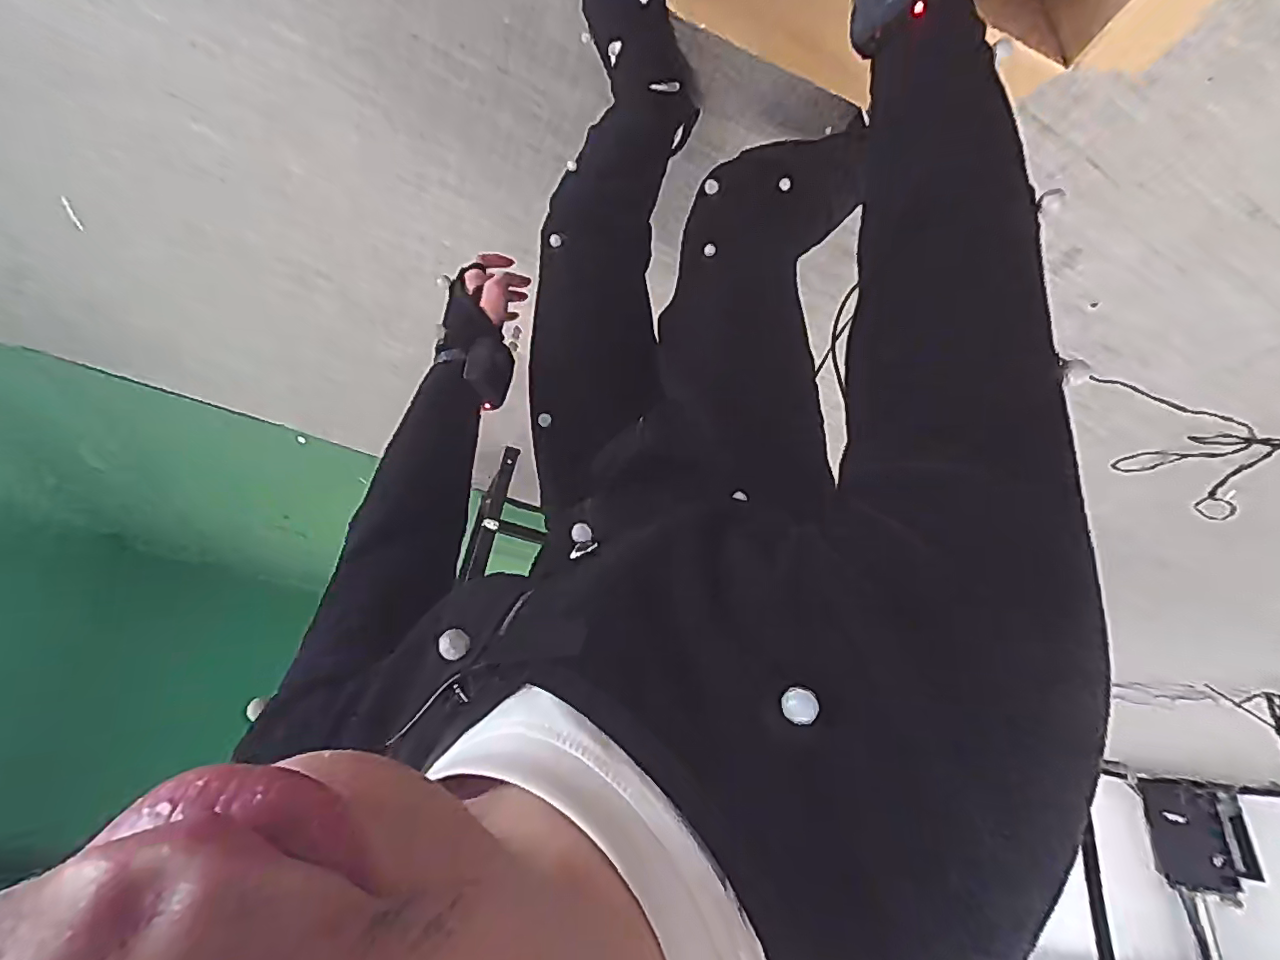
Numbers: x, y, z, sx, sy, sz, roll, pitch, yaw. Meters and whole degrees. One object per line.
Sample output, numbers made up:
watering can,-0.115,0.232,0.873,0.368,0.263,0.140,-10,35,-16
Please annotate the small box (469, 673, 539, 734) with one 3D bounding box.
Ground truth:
small box,-0.464,0.772,1.872,0.168,0.176,0.179,26,148,-25
